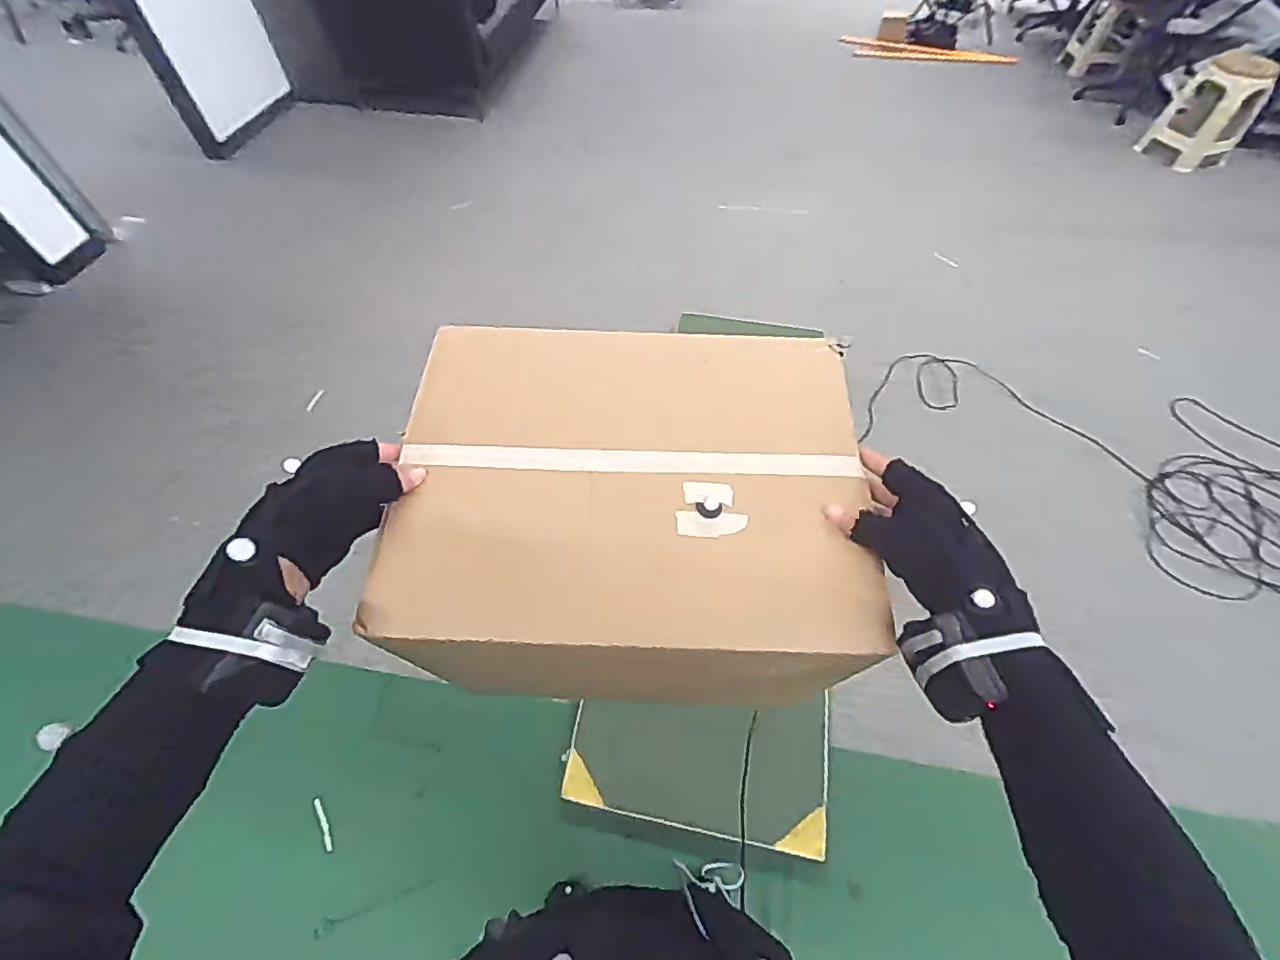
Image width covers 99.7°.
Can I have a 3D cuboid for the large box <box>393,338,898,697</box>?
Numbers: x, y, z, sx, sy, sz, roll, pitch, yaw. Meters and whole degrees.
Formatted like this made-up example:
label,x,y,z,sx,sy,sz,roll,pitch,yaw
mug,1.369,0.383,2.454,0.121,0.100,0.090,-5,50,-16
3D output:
label,x,y,z,sx,sy,sz,roll,pitch,yaw
large box,0.003,0.062,0.620,0.408,0.320,0.320,2,62,0
